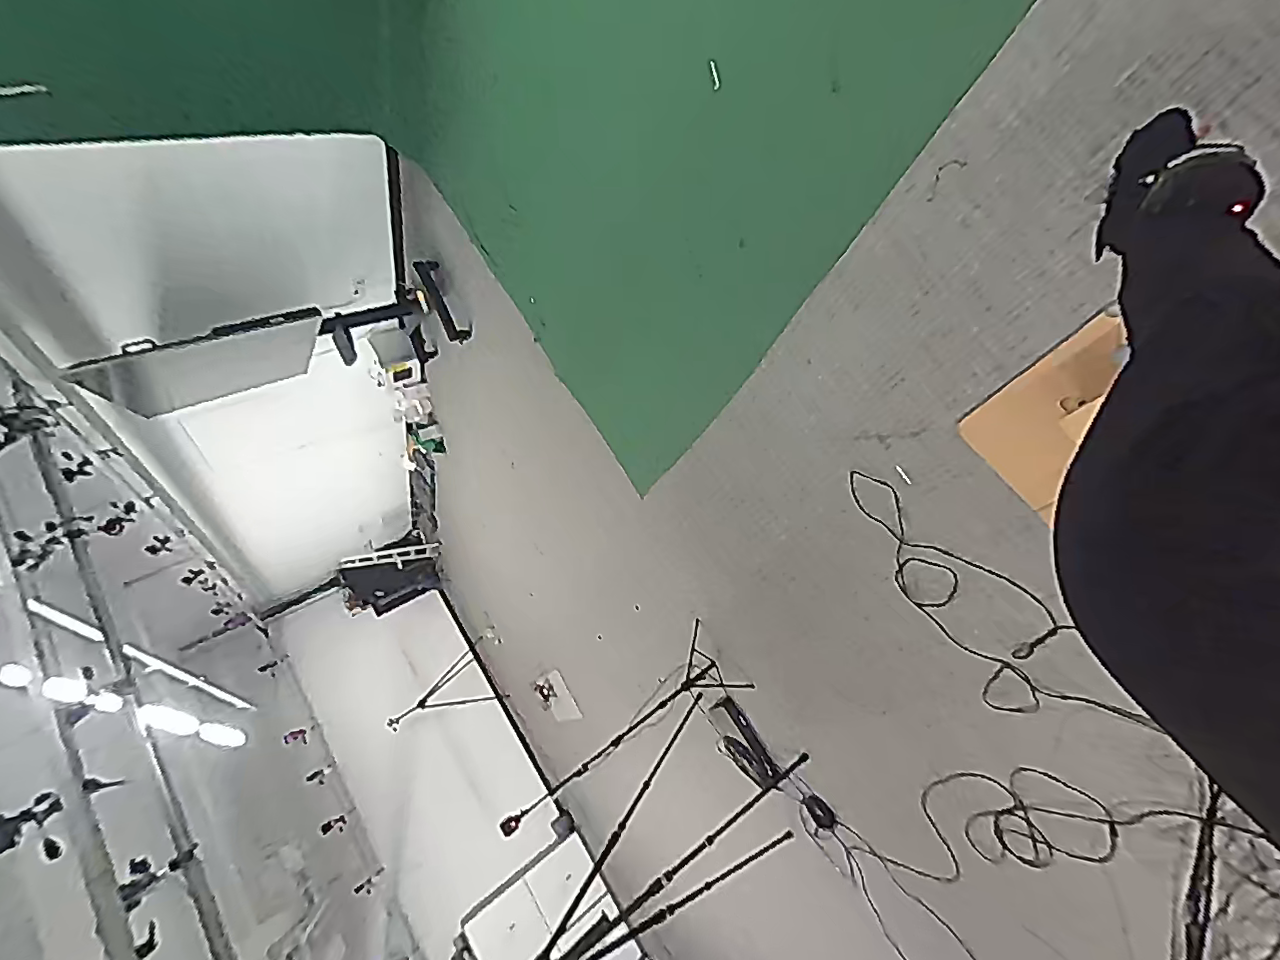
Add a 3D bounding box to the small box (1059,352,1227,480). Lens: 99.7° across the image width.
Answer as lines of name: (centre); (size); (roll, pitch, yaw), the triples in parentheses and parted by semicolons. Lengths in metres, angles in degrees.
small box: (1.025, -0.131, 1.104); (0.168, 0.176, 0.179); (55, 147, 12)
